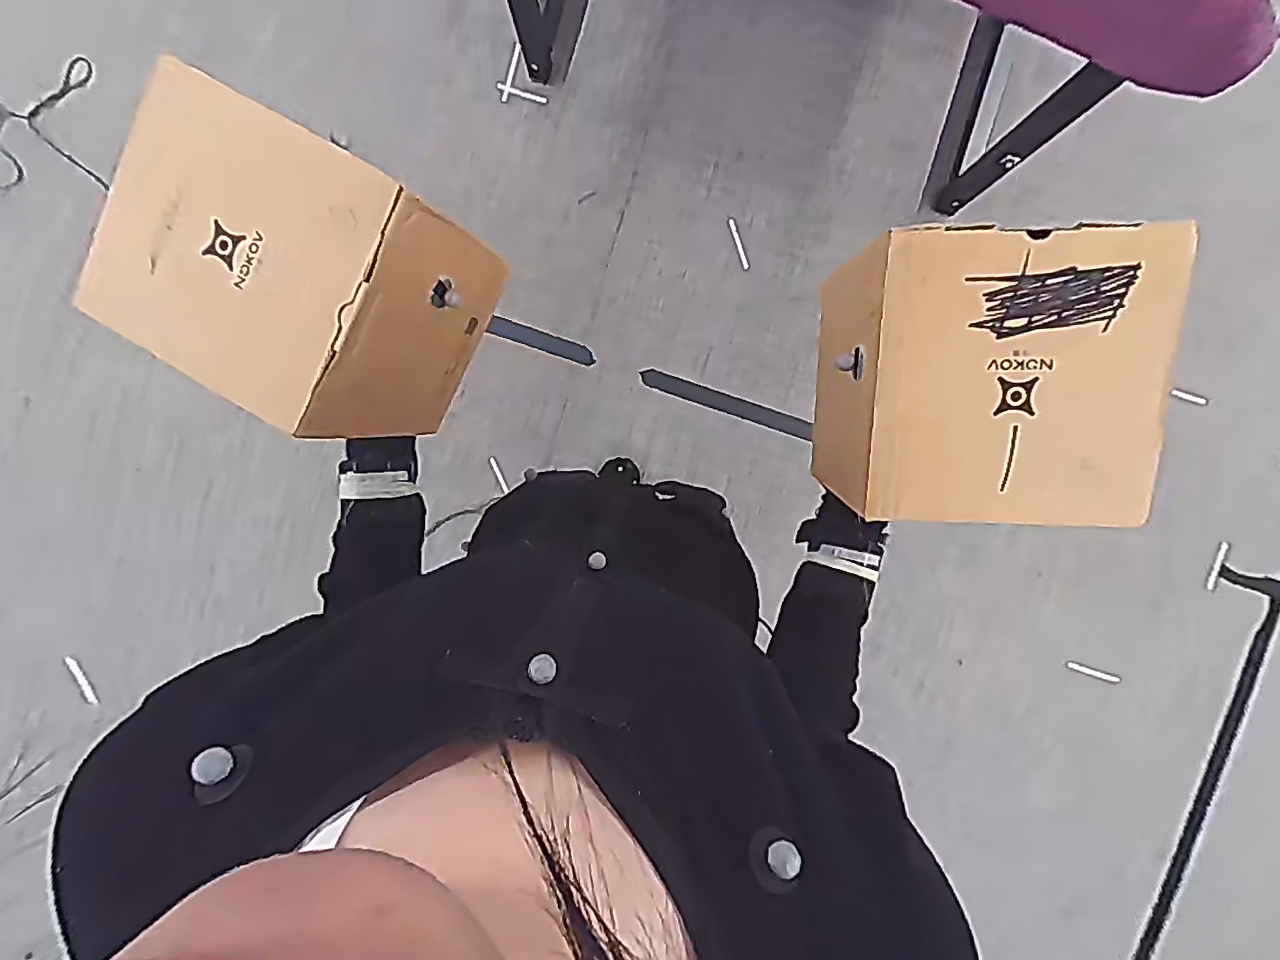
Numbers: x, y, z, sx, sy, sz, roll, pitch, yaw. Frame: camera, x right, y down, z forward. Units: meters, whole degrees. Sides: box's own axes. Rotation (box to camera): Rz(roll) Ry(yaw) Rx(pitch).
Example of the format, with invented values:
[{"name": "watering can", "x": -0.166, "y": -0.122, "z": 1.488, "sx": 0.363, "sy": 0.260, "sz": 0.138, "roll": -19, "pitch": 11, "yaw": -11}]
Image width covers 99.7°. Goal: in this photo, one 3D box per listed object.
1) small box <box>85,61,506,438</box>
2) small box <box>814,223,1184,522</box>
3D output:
[{"name": "small box", "x": -0.229, "y": -0.146, "z": 0.404, "sx": 0.179, "sy": 0.176, "sz": 0.168, "roll": 29, "pitch": 98, "yaw": 5}, {"name": "small box", "x": 0.233, "y": -0.074, "z": 0.403, "sx": 0.168, "sy": 0.176, "sz": 0.179, "roll": 1, "pitch": 100, "yaw": 6}]
